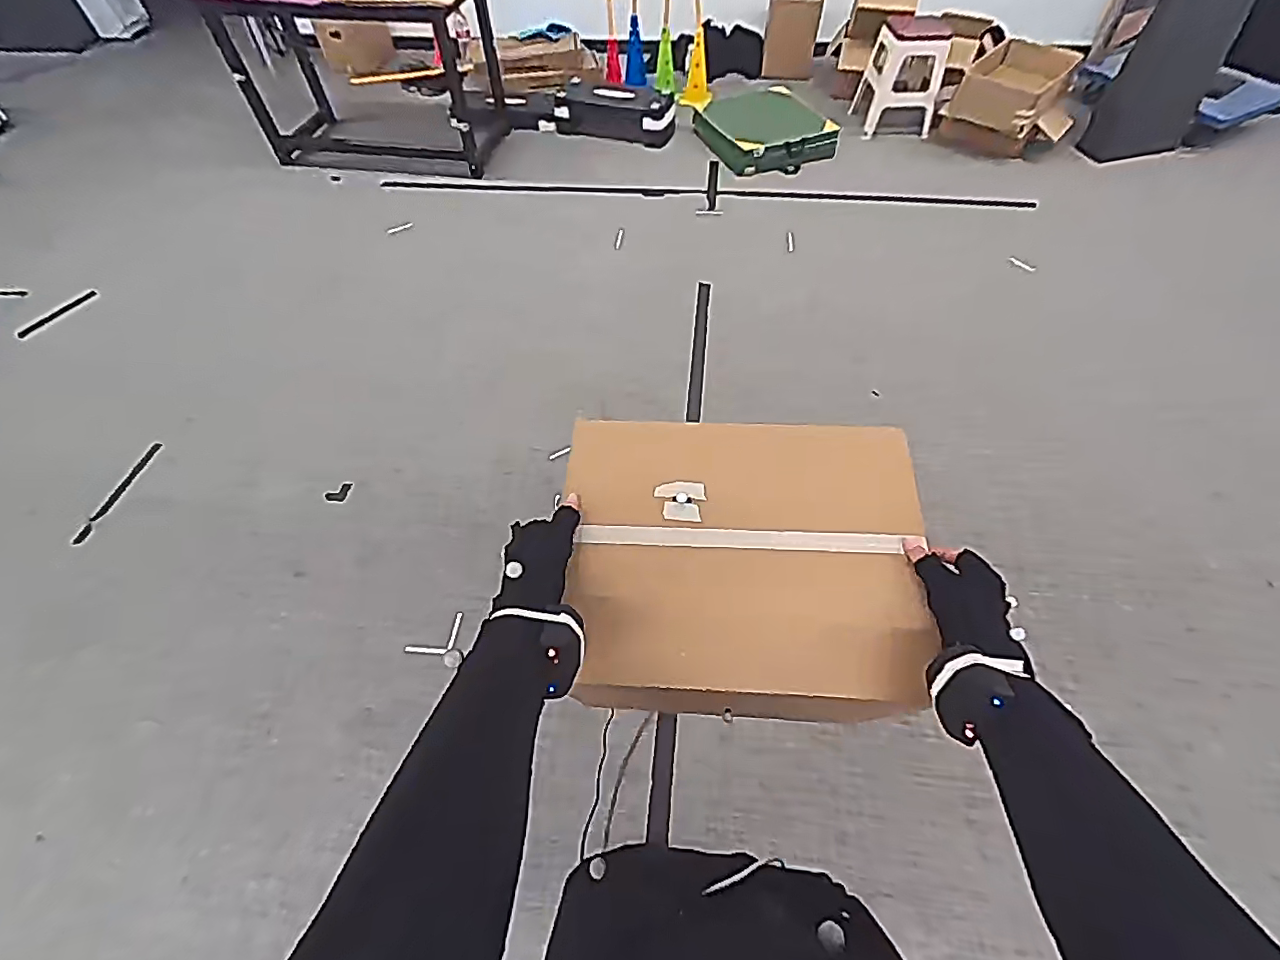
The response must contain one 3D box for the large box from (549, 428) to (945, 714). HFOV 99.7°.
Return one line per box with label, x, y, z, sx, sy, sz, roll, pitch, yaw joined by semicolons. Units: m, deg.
large box;0.122;0.140;0.742;0.408;0.320;0.320;2;62;5
